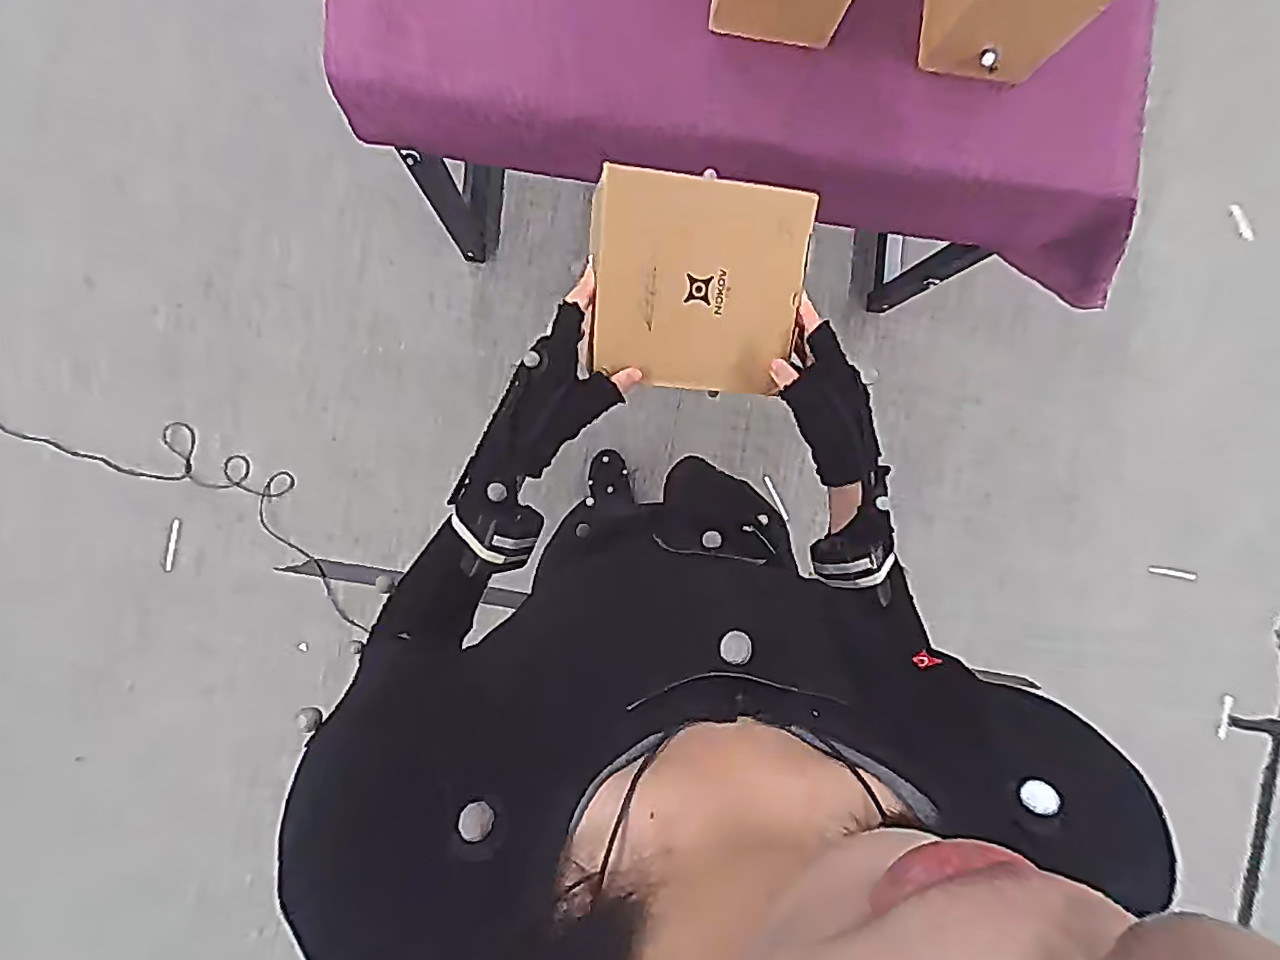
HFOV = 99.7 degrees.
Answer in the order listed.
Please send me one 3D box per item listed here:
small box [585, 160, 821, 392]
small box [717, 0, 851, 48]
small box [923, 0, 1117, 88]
[{"bbox_3d":[0.043,-0.182,0.518,0.179,0.176,0.168,2,105,-9],"label":"small box"},{"bbox_3d":[0.204,-0.715,0.707,0.179,0.176,0.168,5,90,-4],"label":"small box"},{"bbox_3d":[0.512,-0.685,0.731,0.168,0.176,0.179,5,91,-4],"label":"small box"}]
